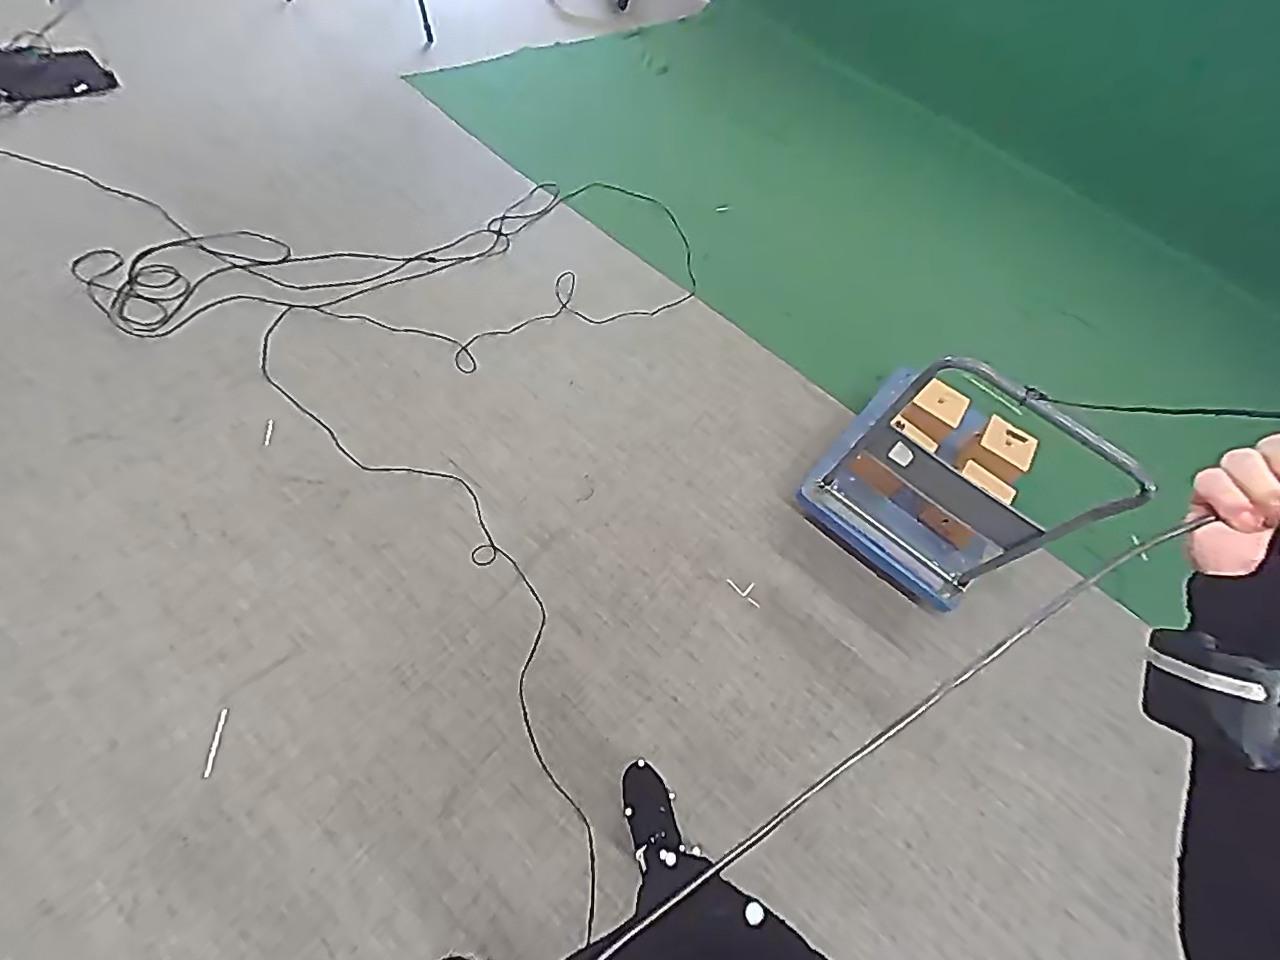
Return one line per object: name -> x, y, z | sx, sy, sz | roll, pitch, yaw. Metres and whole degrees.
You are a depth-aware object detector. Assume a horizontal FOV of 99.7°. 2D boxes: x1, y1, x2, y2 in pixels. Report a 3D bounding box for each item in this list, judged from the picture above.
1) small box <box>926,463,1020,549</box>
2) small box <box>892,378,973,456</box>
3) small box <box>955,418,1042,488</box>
small box -> 1.048, 0.085, 1.713 | 0.168, 0.176, 0.179 | 40, 60, 14
small box -> 1.020, -0.217, 1.898 | 0.168, 0.176, 0.179 | 37, 58, 11
small box -> 1.220, -0.073, 1.849 | 0.168, 0.176, 0.179 | 36, 59, 12
